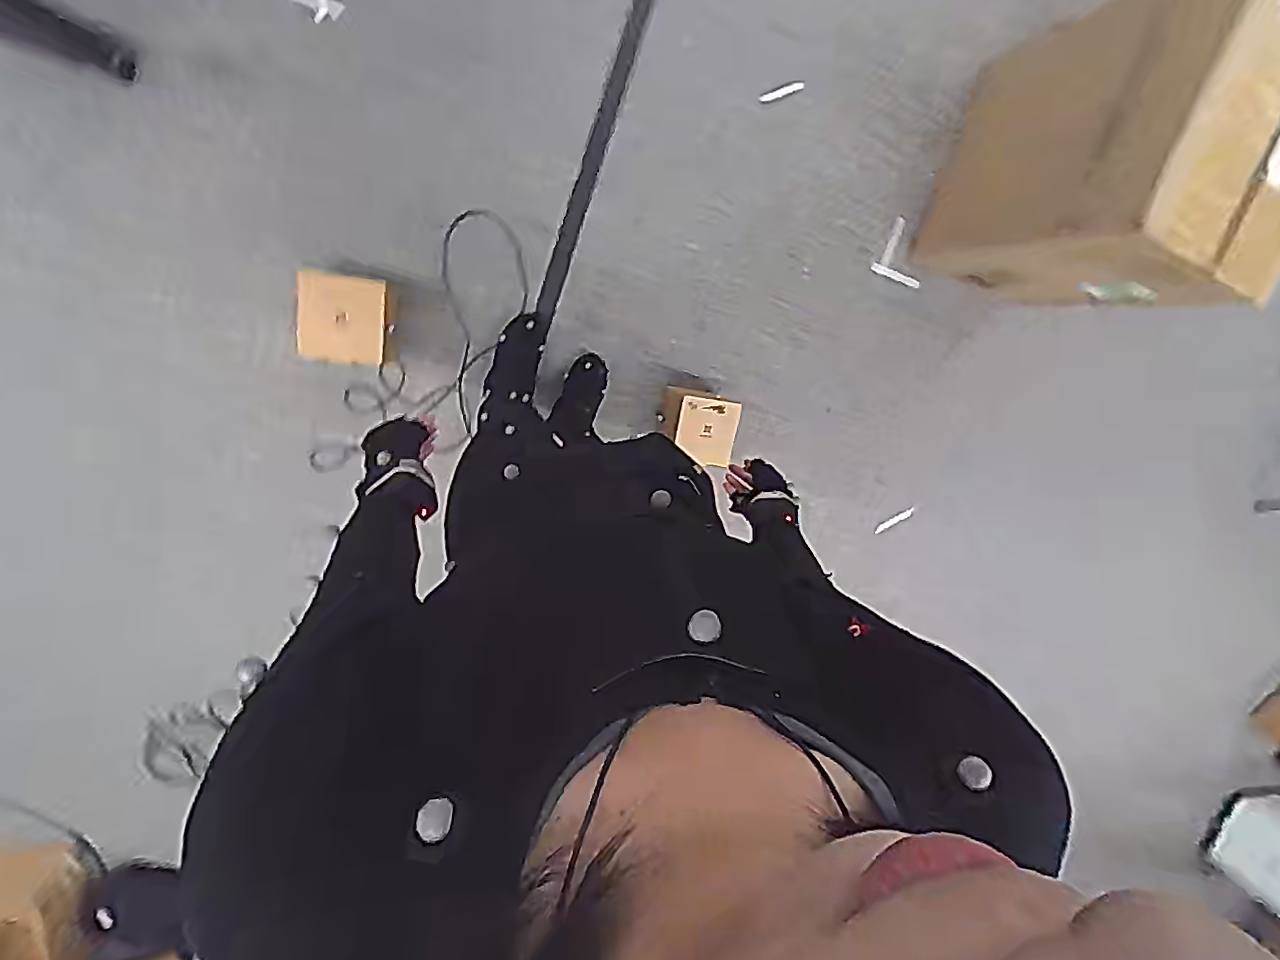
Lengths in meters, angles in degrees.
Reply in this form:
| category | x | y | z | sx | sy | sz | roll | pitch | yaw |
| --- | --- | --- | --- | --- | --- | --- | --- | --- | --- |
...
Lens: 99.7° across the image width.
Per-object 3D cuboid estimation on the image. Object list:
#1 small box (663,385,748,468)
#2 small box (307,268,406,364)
| category | x | y | z | sx | sy | sz | roll | pitch | yaw |
| --- | --- | --- | --- | --- | --- | --- | --- | --- | --- |
| small box | 0.169 | -0.150 | 1.477 | 0.168 | 0.176 | 0.179 | 7 | 106 | -15 |
| small box | -0.631 | -0.366 | 1.219 | 0.168 | 0.176 | 0.179 | 5 | 104 | -15 |
